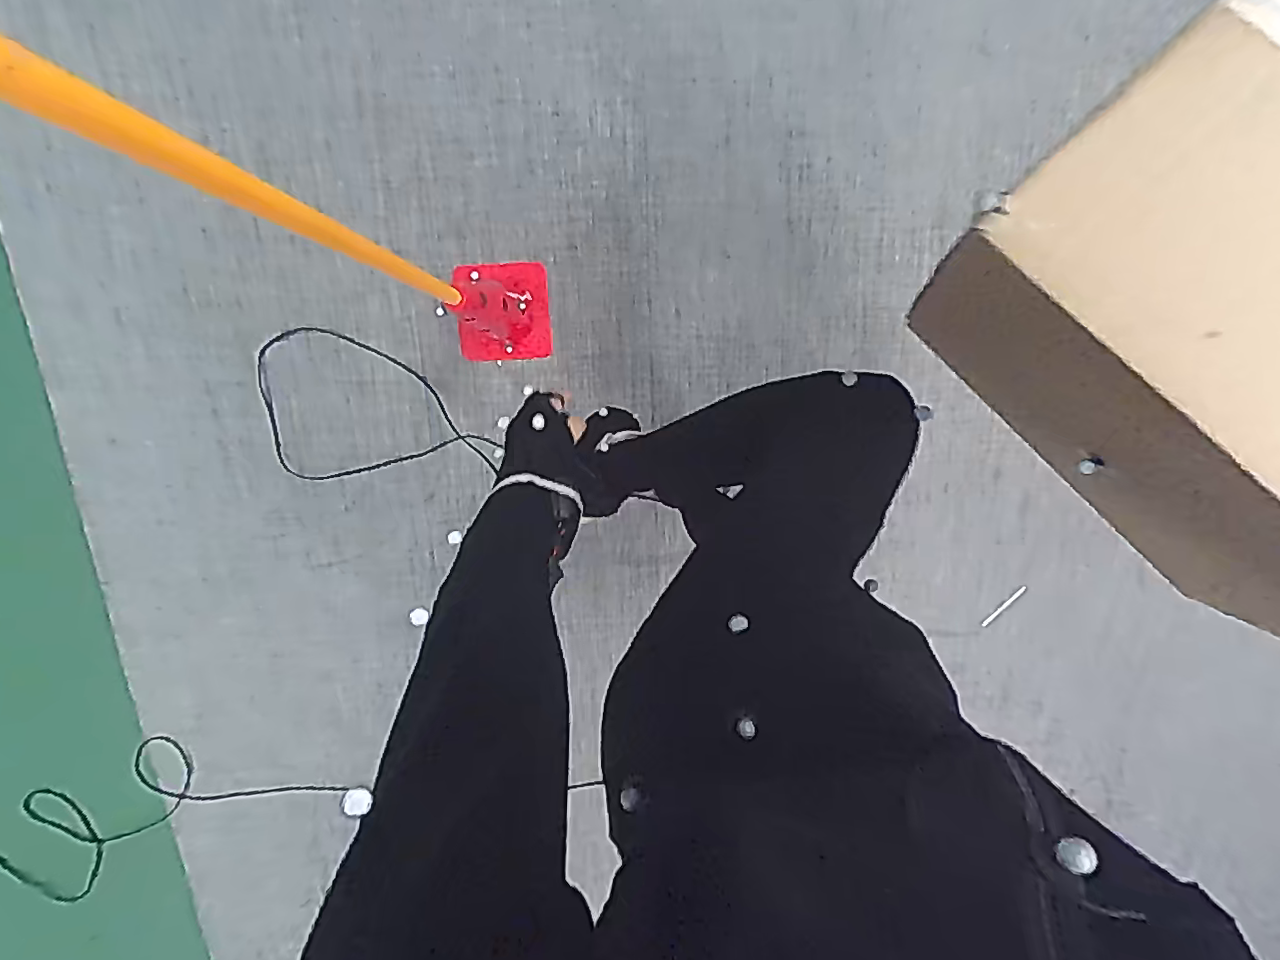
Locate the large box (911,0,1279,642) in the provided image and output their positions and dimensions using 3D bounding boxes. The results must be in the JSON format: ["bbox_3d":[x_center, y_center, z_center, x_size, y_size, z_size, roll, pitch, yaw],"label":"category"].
[{"bbox_3d":[0.489,-0.108,0.411,0.320,0.320,0.408,-43,80,17],"label":"large box"}]
